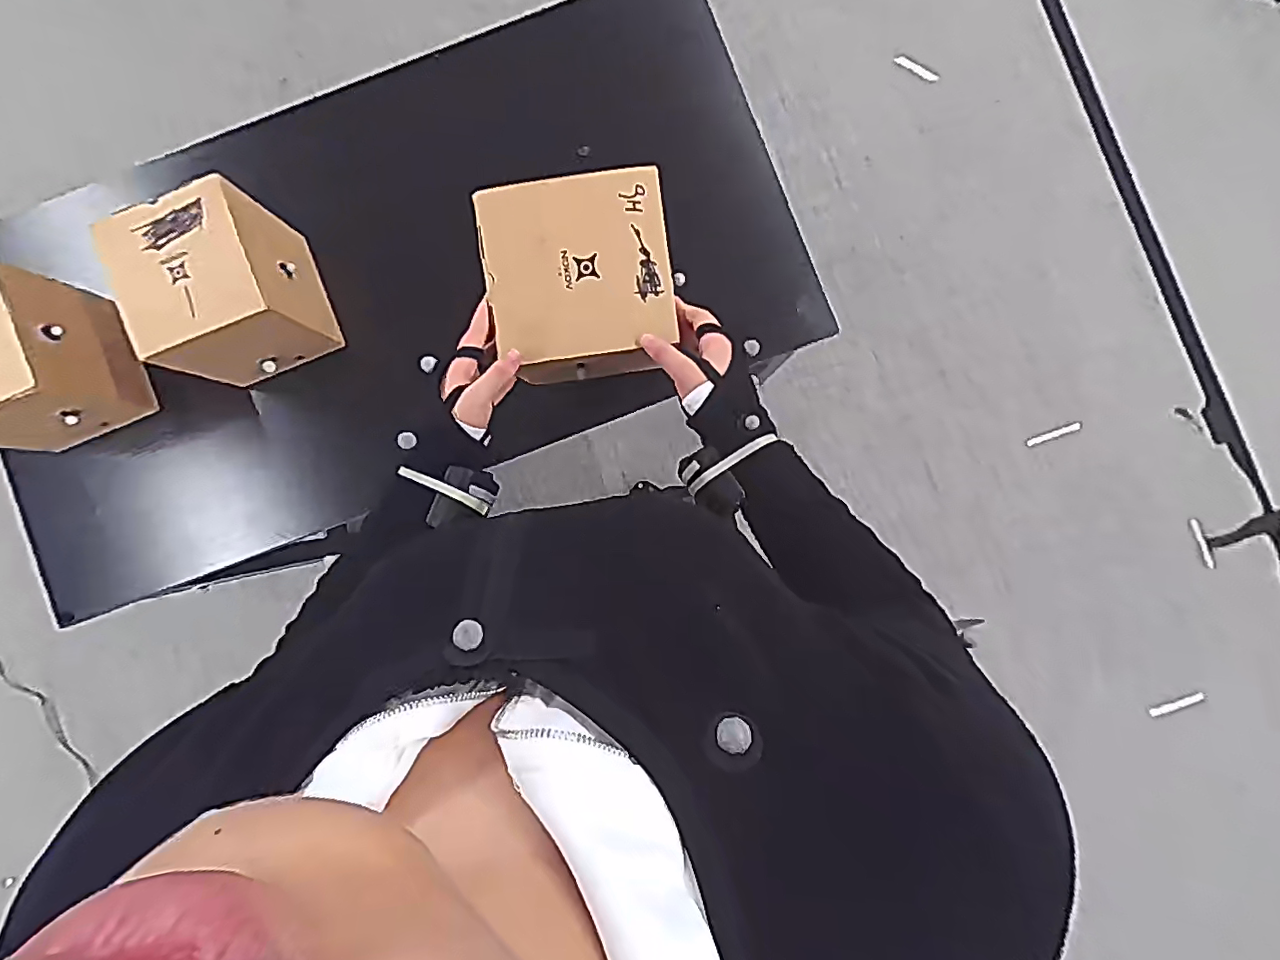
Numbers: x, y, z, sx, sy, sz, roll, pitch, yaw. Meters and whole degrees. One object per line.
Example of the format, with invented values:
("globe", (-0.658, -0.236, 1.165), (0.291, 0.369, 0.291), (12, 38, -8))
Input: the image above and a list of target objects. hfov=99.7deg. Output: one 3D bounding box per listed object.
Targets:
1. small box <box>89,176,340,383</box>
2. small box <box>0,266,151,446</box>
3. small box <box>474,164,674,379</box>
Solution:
("small box", (-0.540, -0.248, 0.712), (0.168, 0.176, 0.179), (-22, 89, 0))
("small box", (-0.811, -0.152, 0.713), (0.168, 0.176, 0.179), (-23, 88, -1))
("small box", (-0.060, -0.208, 0.589), (0.179, 0.176, 0.168), (-8, 95, 1))
